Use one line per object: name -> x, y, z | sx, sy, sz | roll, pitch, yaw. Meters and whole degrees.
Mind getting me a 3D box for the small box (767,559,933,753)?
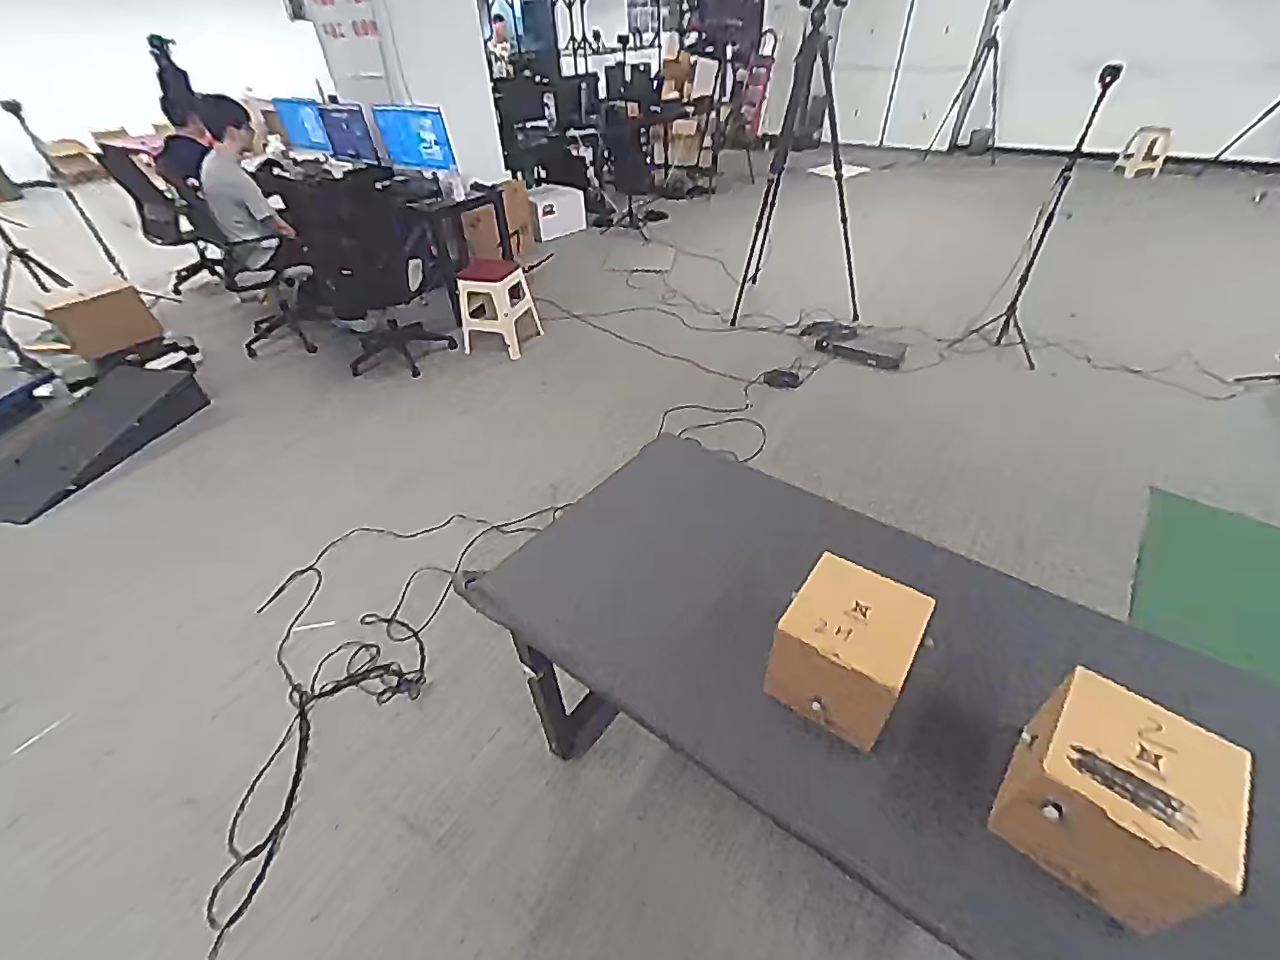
small box -> 0.303, 0.257, 0.804 | 0.168, 0.176, 0.179 | 24, 45, 29
